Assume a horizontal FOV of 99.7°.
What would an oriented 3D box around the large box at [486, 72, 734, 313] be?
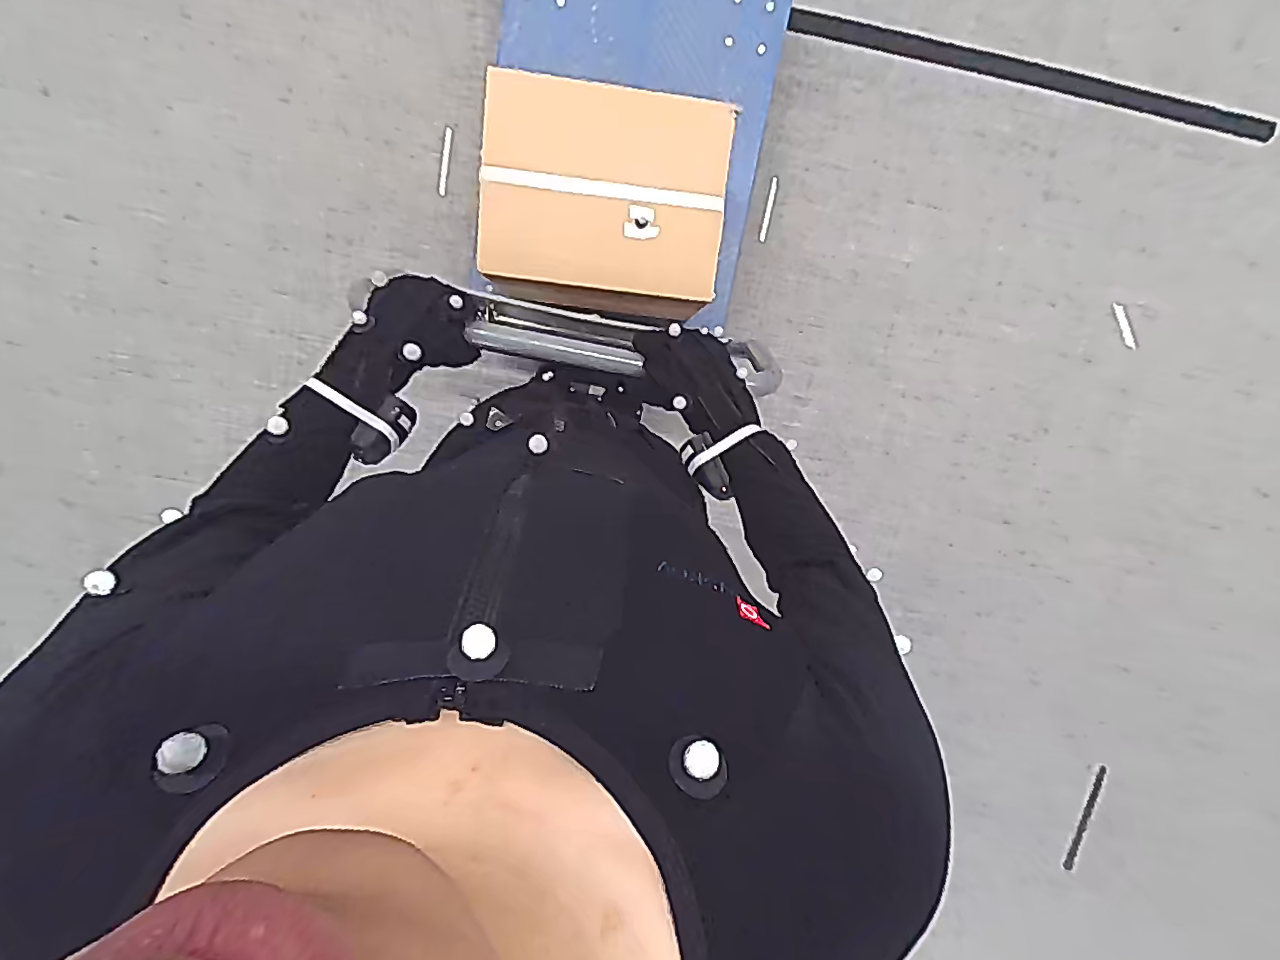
[{"bbox_3d":[-0.065,-0.520,1.055,0.408,0.320,0.320,5,101,-5],"label":"large box"}]
